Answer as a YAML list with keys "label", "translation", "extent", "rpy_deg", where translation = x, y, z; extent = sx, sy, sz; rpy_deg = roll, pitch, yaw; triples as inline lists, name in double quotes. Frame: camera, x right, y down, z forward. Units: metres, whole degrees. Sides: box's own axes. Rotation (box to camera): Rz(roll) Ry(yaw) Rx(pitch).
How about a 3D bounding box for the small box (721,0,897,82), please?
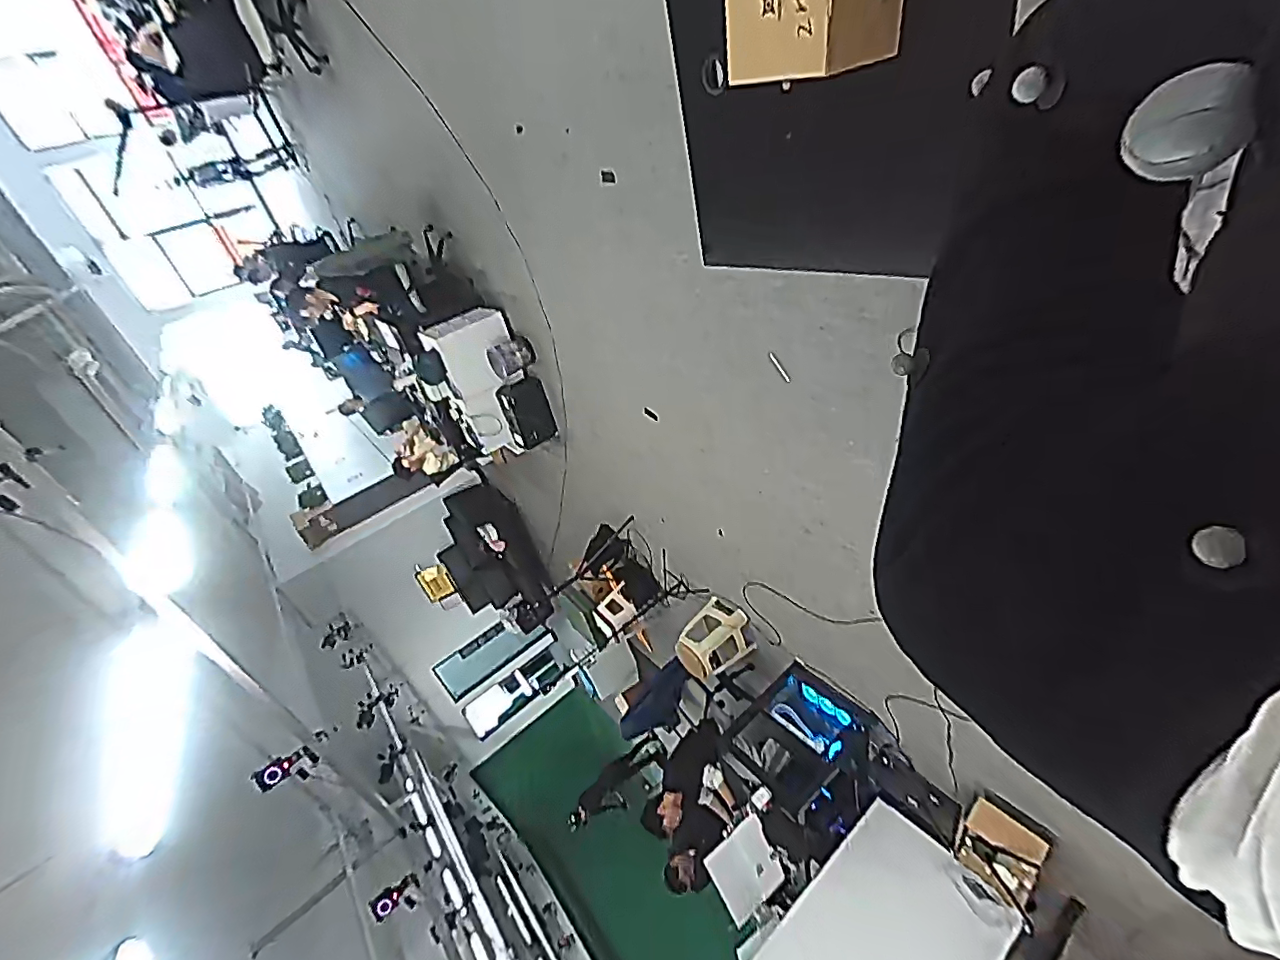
- label: "small box"
  translation: [0.229, -0.662, 0.739]
  extent: [0.179, 0.176, 0.168]
  rpy_deg: [33, 147, 41]
